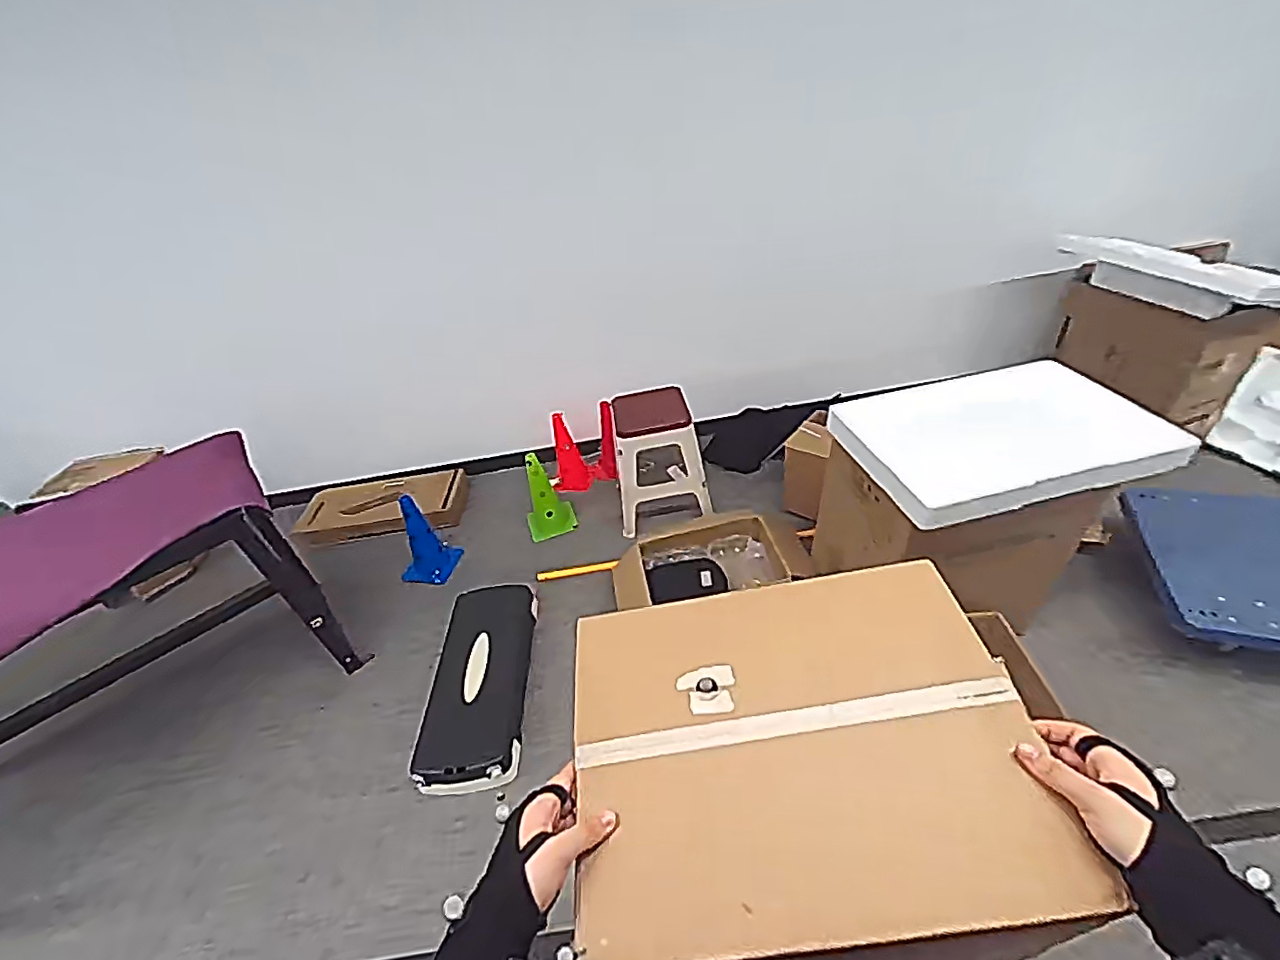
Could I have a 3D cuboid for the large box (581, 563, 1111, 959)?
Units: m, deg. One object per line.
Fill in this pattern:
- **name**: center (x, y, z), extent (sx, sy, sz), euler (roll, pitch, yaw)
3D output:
- **large box**: center (0.169, 0.343, 0.611), extent (0.408, 0.320, 0.320), euler (-12, 40, 5)
